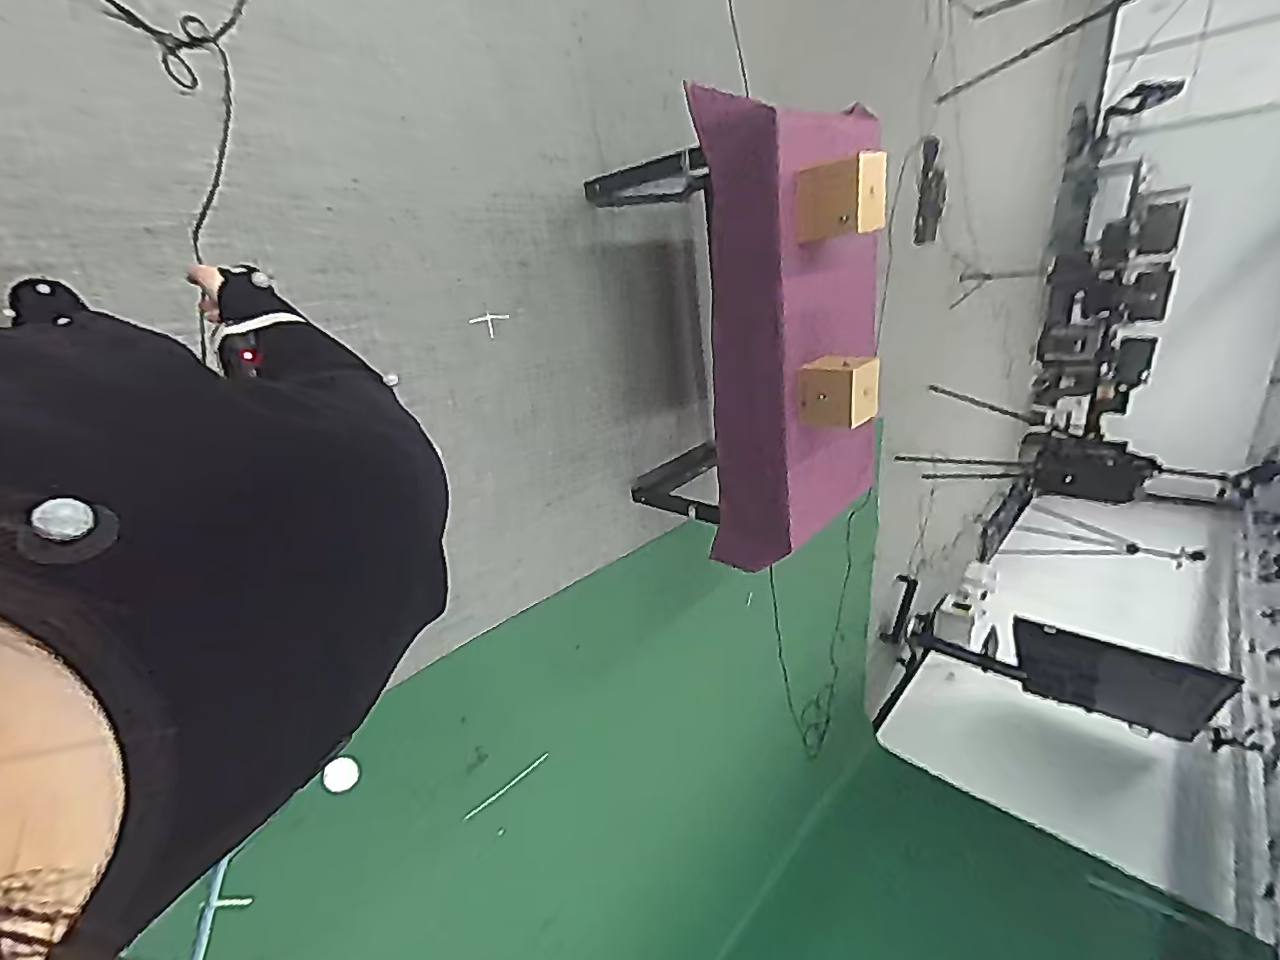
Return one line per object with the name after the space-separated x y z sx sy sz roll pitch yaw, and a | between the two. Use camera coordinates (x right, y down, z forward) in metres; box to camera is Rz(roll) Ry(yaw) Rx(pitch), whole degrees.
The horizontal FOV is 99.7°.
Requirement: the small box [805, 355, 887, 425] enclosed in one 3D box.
0.589 -0.263 1.555 0.179 0.176 0.168 -26 118 -39 | small box

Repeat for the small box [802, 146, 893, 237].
0.525 -0.728 1.373 0.168 0.176 0.179 -30 121 -38 | small box
